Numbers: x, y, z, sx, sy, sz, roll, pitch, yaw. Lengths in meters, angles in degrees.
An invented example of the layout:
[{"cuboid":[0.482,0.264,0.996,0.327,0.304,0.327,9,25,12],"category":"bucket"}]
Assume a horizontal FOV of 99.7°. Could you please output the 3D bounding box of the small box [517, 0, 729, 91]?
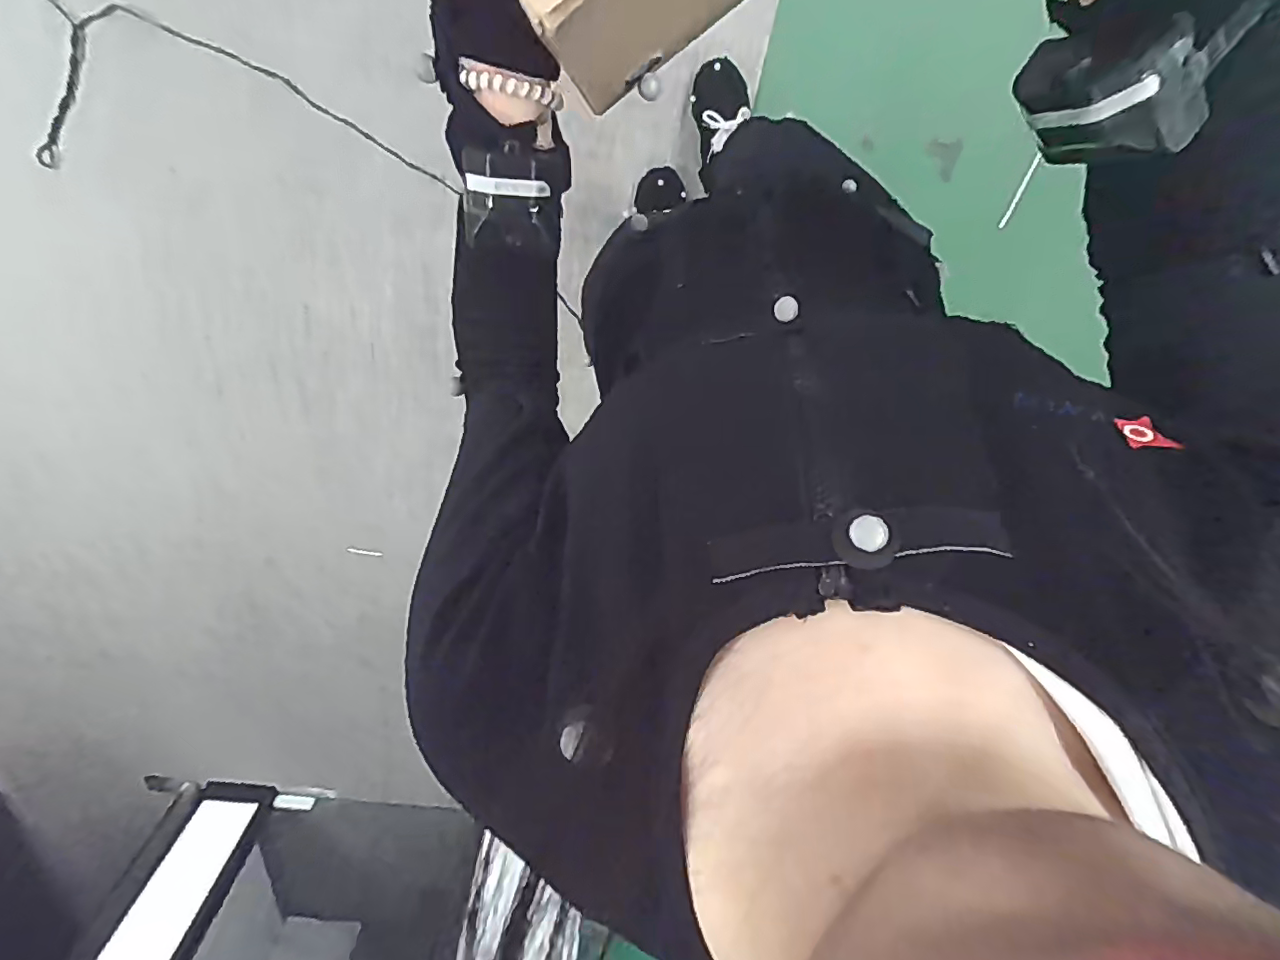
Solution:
[{"cuboid":[-0.009,-0.285,0.200,0.168,0.176,0.179,-31,110,14],"category":"small box"}]
